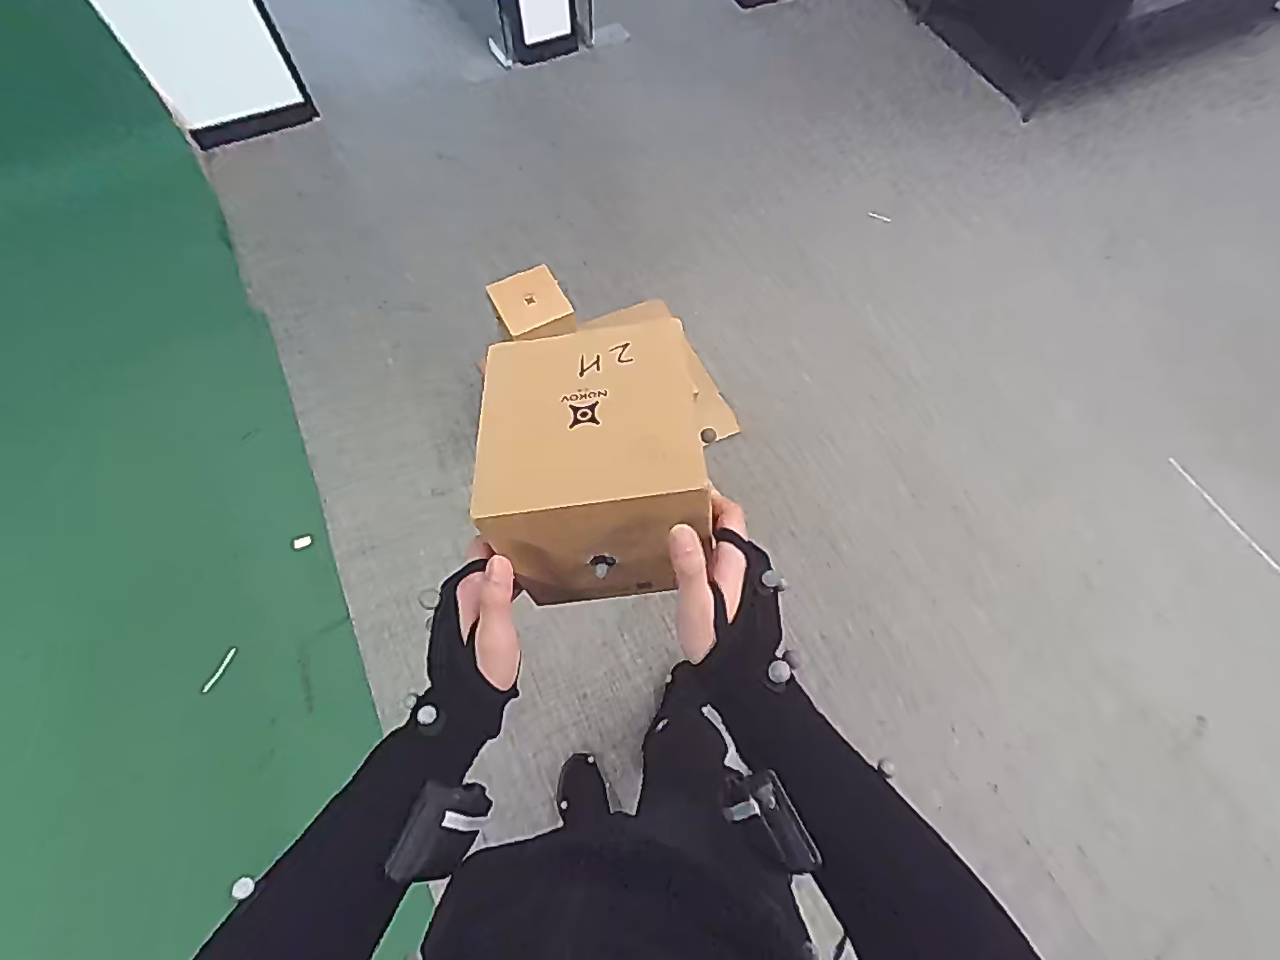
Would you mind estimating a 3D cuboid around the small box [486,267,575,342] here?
[{"bbox_3d":[-0.271,-0.403,1.396,0.168,0.176,0.179,-27,69,-12],"label":"small box"}]

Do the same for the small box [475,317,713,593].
[{"bbox_3d":[-0.028,-0.011,0.475,0.168,0.176,0.179,-7,54,3],"label":"small box"}]
